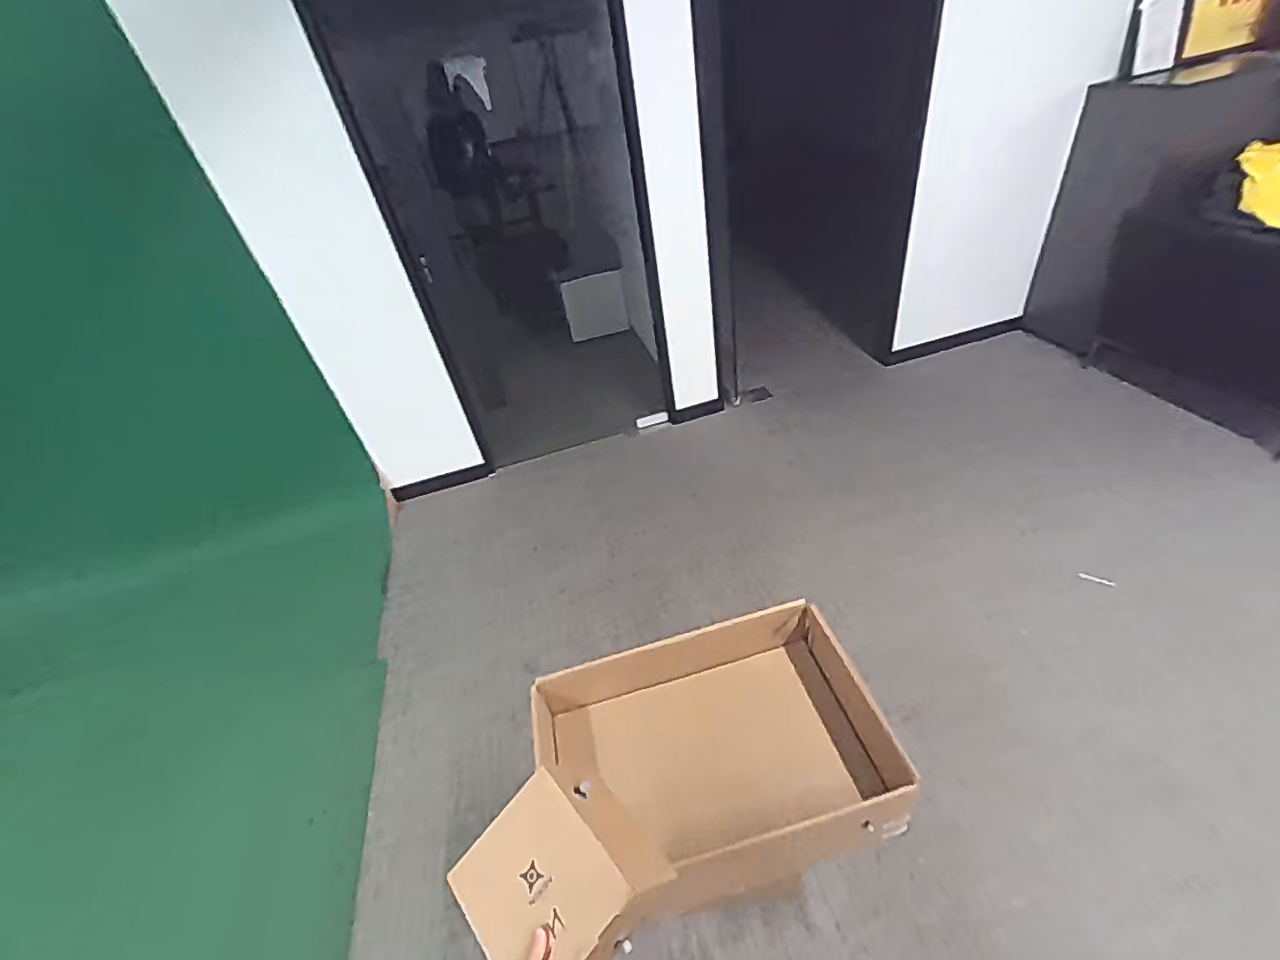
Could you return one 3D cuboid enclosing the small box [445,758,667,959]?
[{"bbox_3d":[-0.095,0.482,0.665,0.168,0.176,0.179,-46,55,-10],"label":"small box"}]
